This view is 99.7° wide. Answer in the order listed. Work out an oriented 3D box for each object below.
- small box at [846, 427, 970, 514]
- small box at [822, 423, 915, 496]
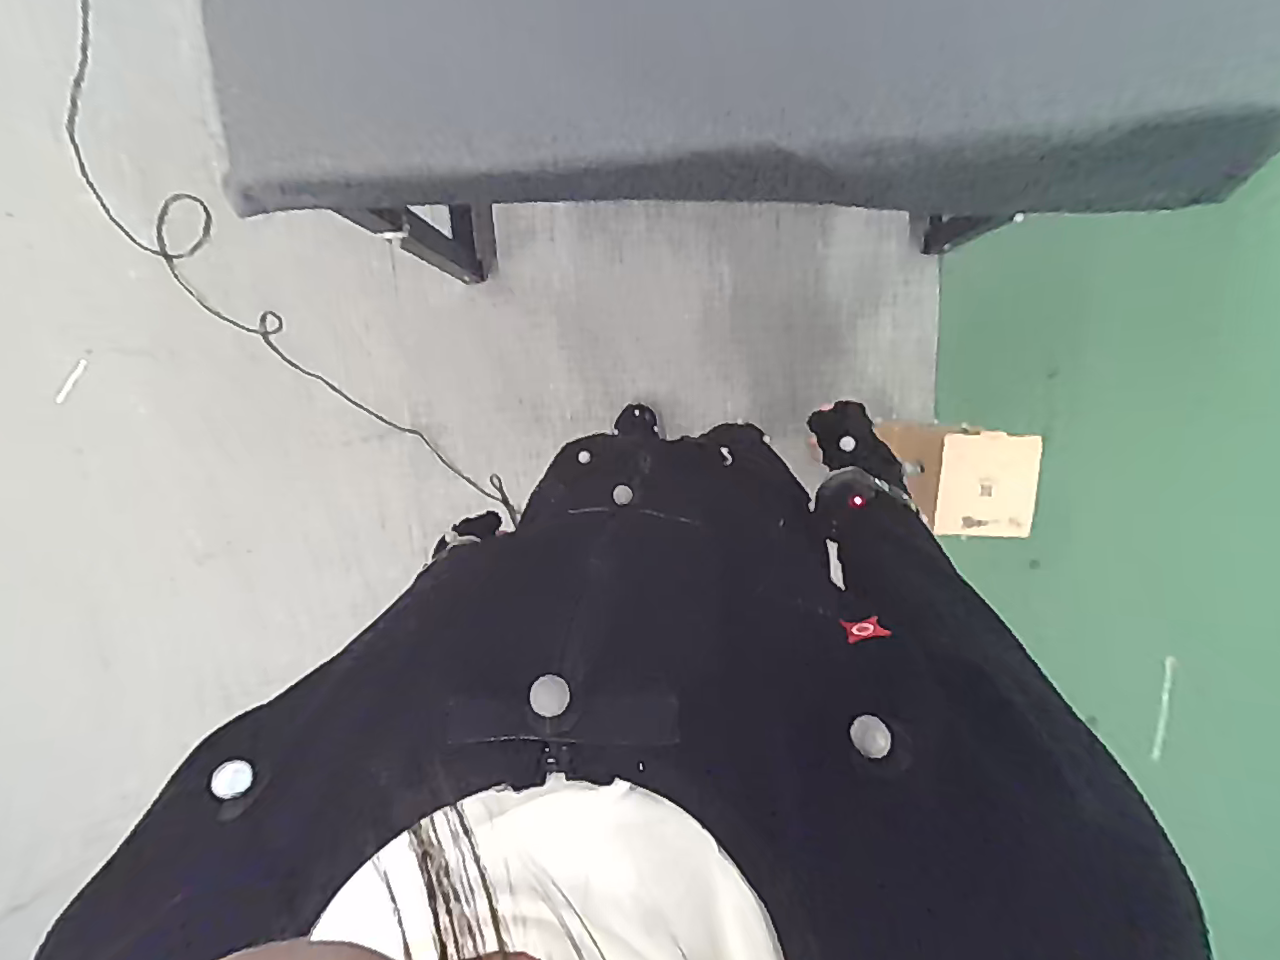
[{"bbox_3d":[0.568,-0.027,1.164,0.179,0.176,0.168,2,98,1],"label":"small box"},{"bbox_3d":[0.566,-0.053,1.327,0.179,0.176,0.168,2,98,2],"label":"small box"}]
